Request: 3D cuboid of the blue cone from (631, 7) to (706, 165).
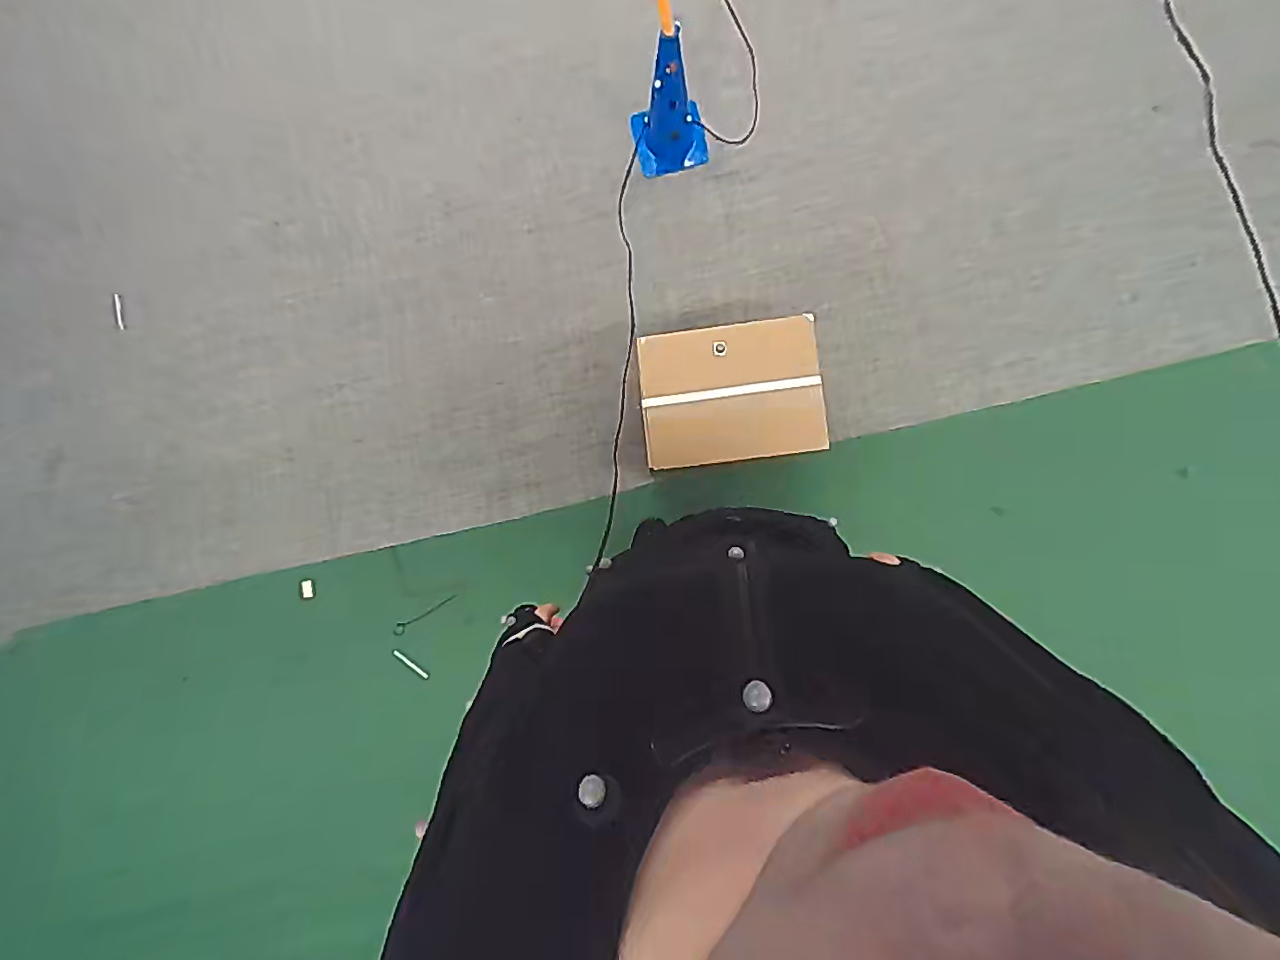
[{"bbox_3d":[0.070,-1.012,1.379,0.193,0.380,0.192,-16,86,4],"label":"blue cone"}]
